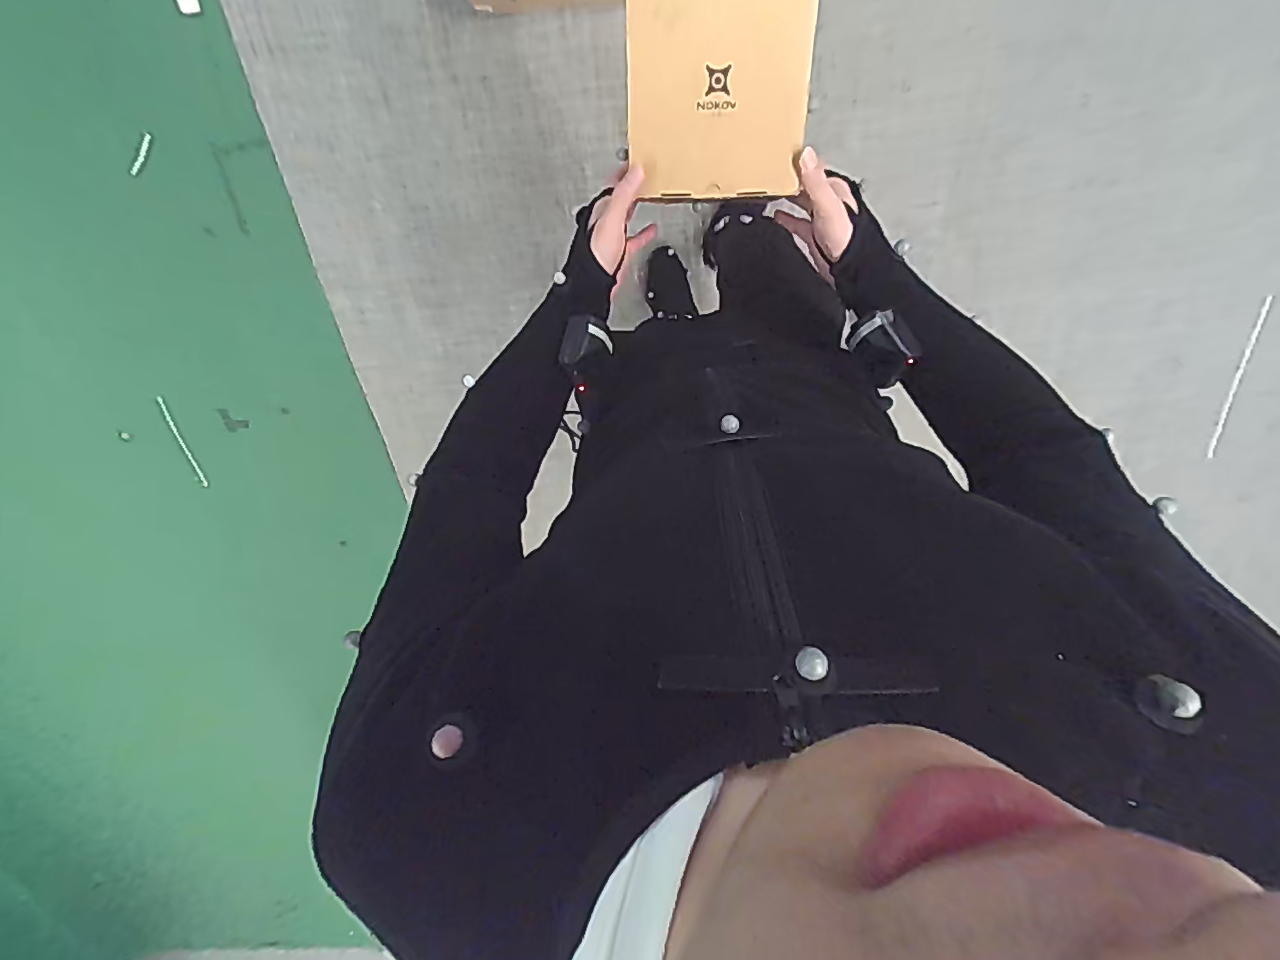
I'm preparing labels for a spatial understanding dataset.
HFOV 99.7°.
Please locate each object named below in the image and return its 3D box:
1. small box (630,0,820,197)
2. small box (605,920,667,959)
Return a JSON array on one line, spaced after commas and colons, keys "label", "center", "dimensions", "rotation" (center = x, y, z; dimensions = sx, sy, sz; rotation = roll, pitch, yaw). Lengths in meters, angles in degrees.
[{"label": "small box", "center": [0.077, -0.395, 0.556], "dimensions": [0.168, 0.176, 0.179], "rotation": [1, 117, 5]}, {"label": "small box", "center": [-0.009, 1.419, 1.568], "dimensions": [0.168, 0.176, 0.179], "rotation": [-6, 117, 5]}]
